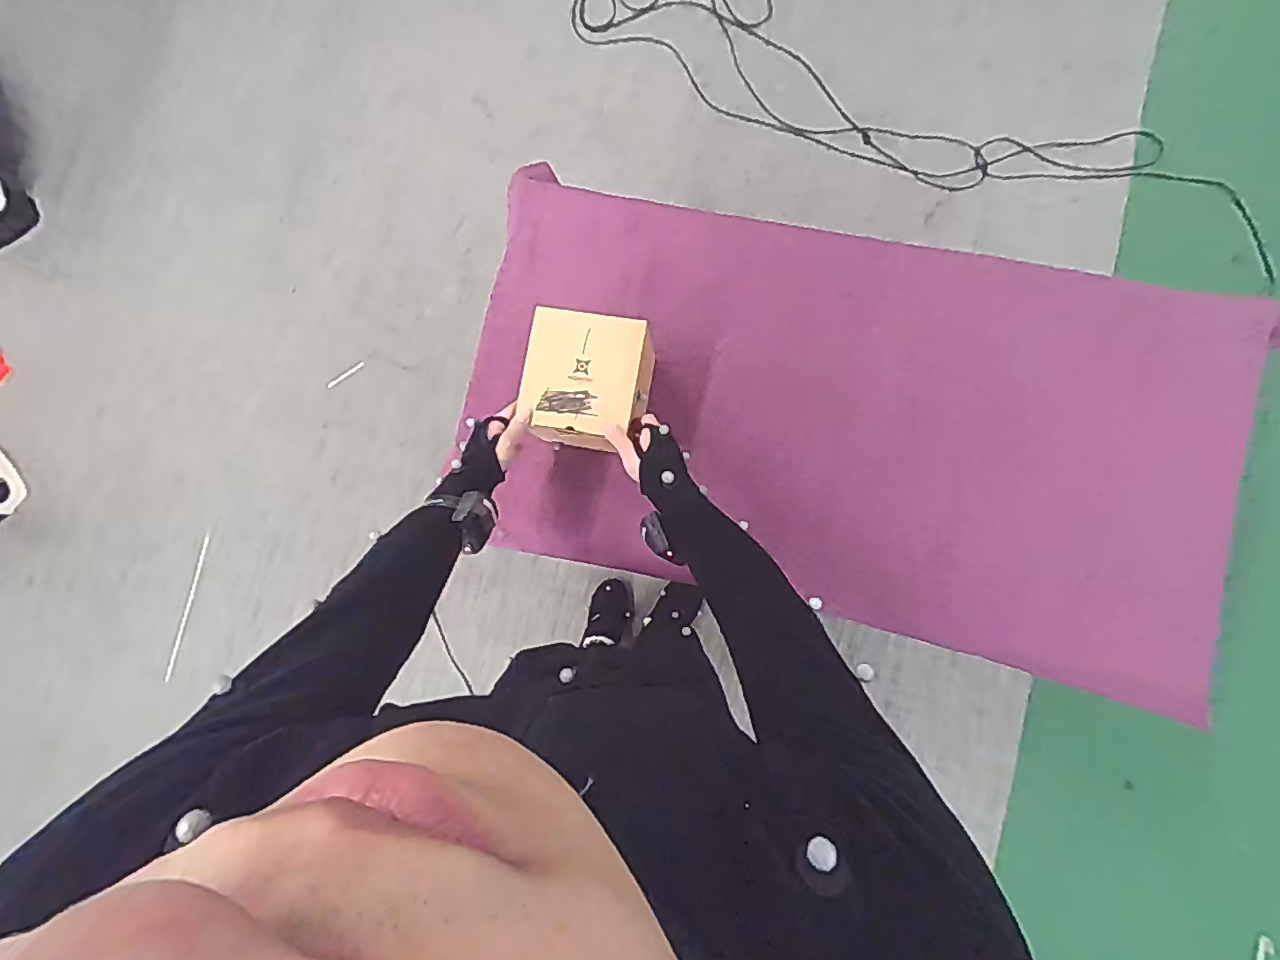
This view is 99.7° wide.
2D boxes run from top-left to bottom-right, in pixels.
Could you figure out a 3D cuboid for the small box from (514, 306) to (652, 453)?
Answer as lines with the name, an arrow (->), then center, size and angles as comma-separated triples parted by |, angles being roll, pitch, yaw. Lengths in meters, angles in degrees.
small box -> -0.078, -0.146, 0.842 | 0.168, 0.176, 0.179 | 10, 85, 6
